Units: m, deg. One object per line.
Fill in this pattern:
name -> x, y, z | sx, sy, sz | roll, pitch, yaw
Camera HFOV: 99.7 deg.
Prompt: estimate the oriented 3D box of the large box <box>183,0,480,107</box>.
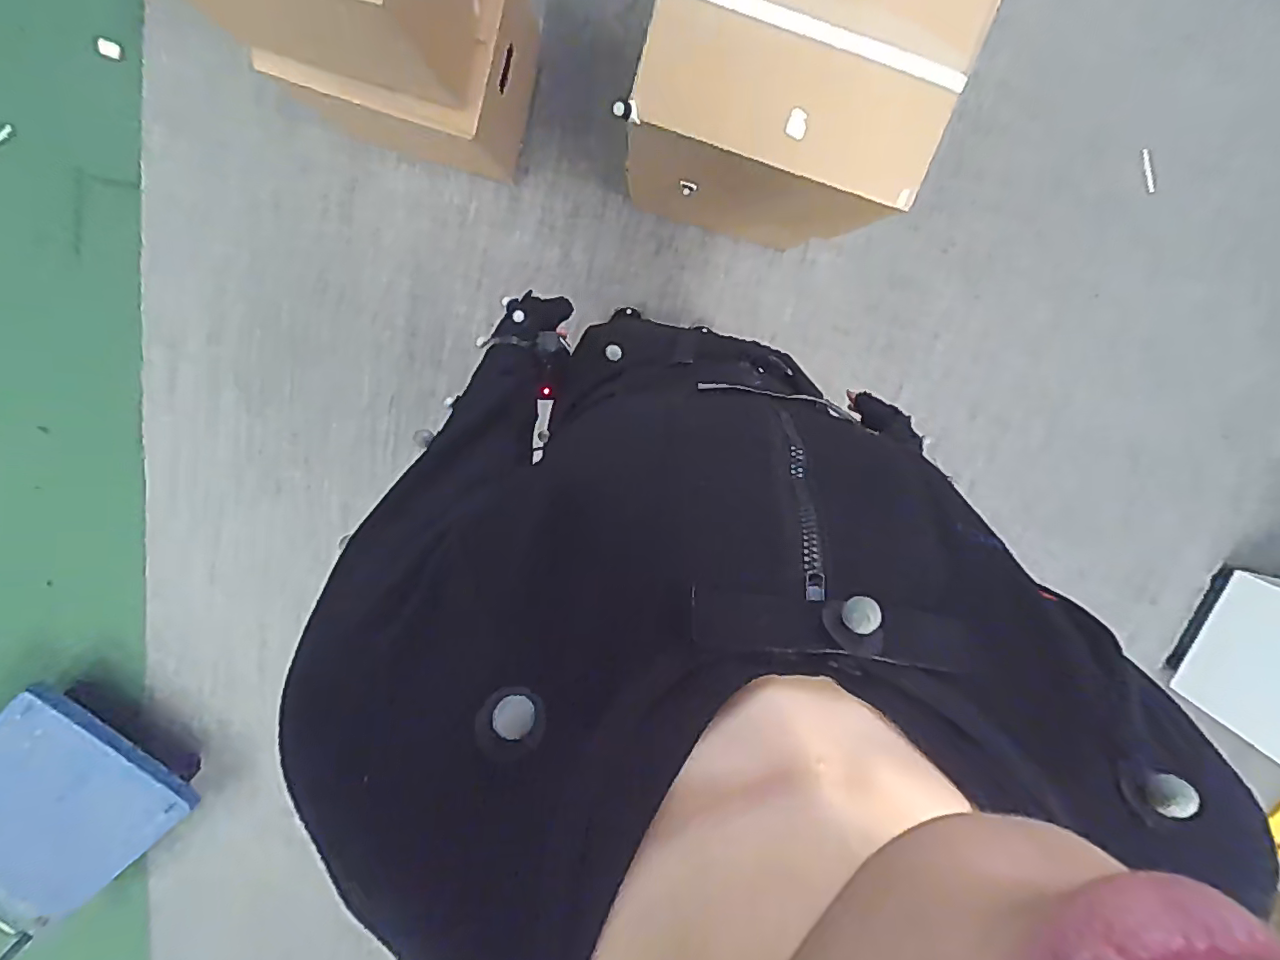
large box -> -0.470, -0.819, 0.776 | 0.408, 0.320, 0.320 | 15, 103, -5
